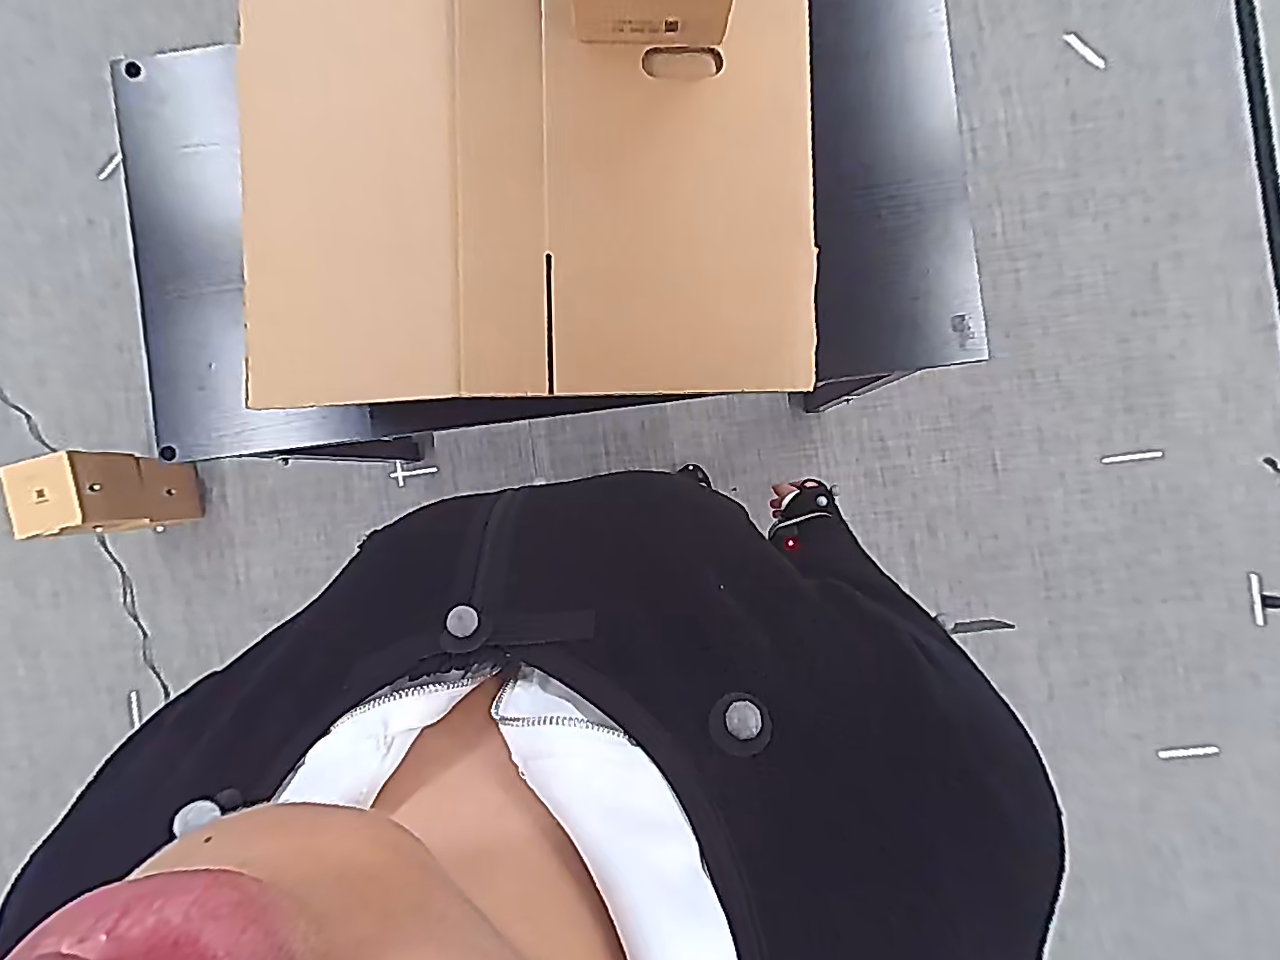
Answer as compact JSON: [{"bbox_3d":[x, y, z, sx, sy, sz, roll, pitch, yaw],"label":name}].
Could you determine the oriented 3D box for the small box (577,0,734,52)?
[{"bbox_3d":[0.016,-0.567,0.520,0.168,0.176,0.179,0,88,-1],"label":"small box"}]

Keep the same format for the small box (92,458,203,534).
[{"bbox_3d":[-1.350,0.043,1.477,0.168,0.176,0.179,-11,90,2],"label":"small box"}]

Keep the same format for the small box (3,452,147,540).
[{"bbox_3d":[-1.360,0.036,1.315,0.168,0.176,0.179,-14,88,1],"label":"small box"}]
